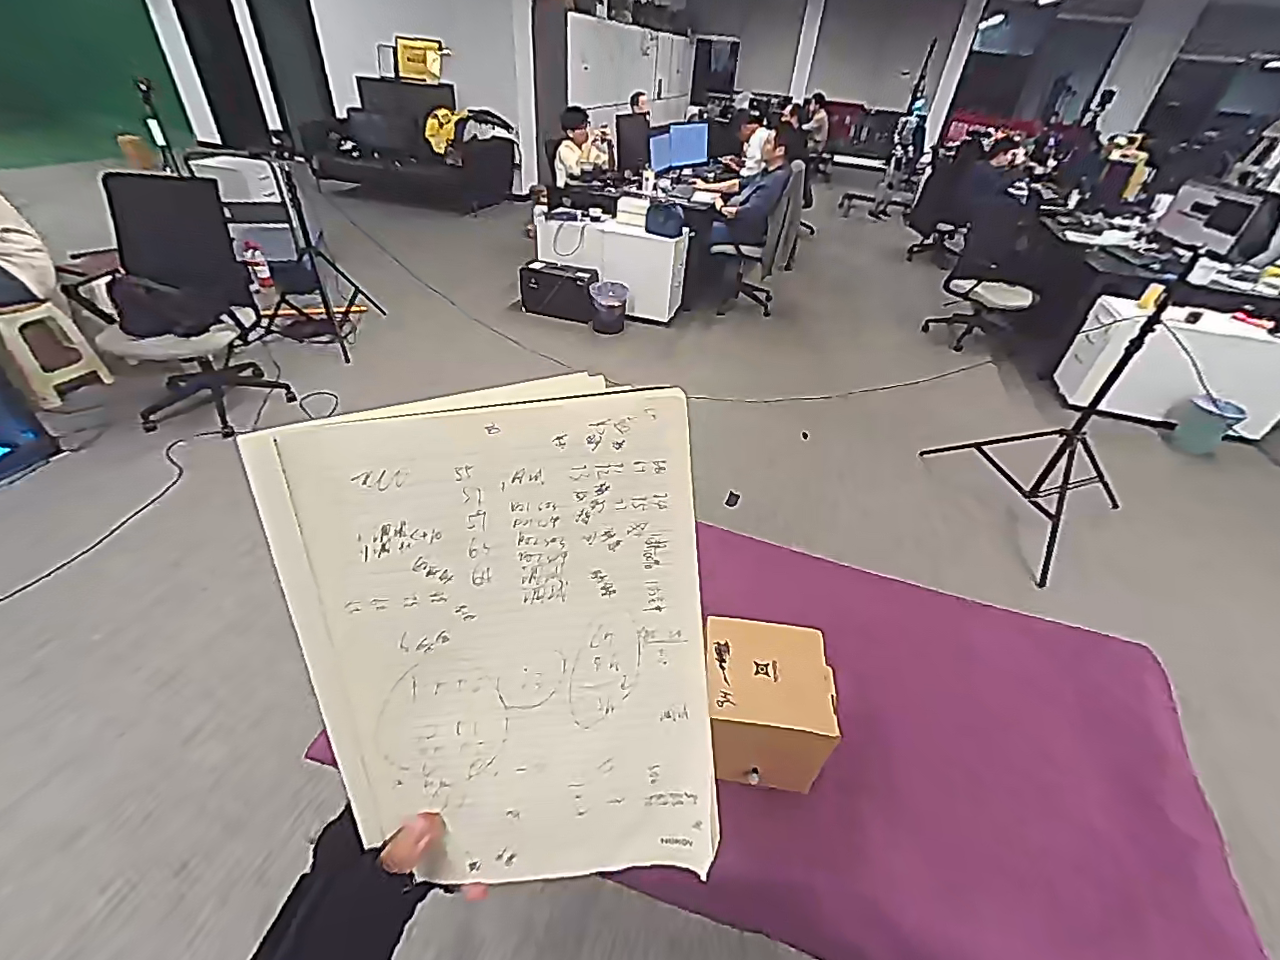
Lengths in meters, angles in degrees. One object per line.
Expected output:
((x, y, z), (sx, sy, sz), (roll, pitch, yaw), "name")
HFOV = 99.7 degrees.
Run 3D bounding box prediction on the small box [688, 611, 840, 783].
((0.173, 0.322, 0.802), (0.179, 0.176, 0.168), (8, 37, 3), "small box")
